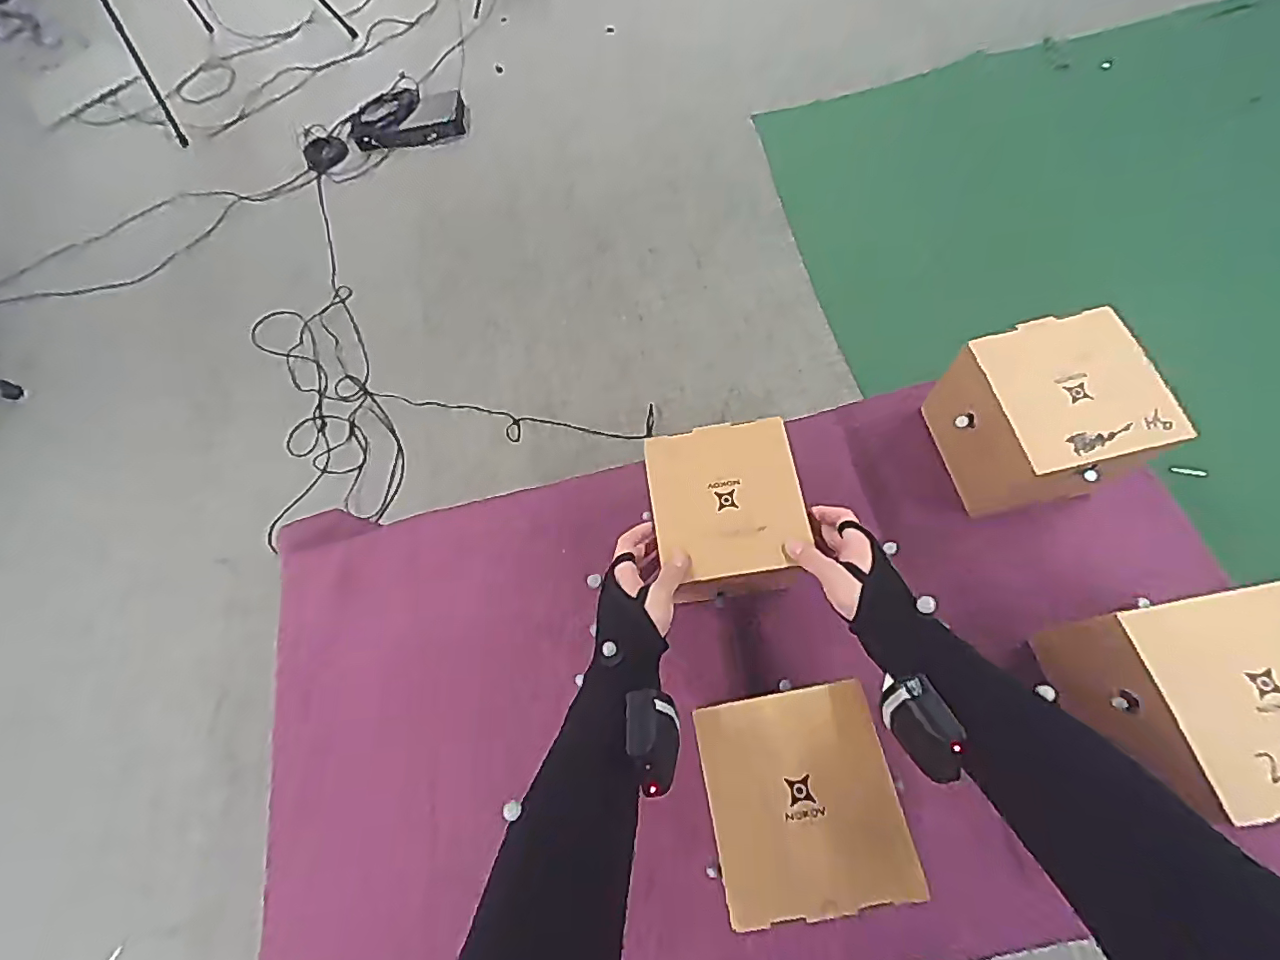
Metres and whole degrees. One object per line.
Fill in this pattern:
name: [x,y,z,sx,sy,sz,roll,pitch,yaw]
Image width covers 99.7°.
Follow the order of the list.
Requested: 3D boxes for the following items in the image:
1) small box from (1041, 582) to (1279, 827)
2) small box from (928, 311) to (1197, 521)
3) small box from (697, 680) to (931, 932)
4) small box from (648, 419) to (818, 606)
small box: [0.547,0.218,0.530,0.168,0.176,0.179,-13,64,5]
small box: [0.488,-0.069,0.664,0.168,0.176,0.179,-14,67,5]
small box: [0.155,0.315,0.552,0.168,0.176,0.179,-12,65,3]
small box: [0.104,0.048,0.671,0.168,0.176,0.179,-9,69,3]
